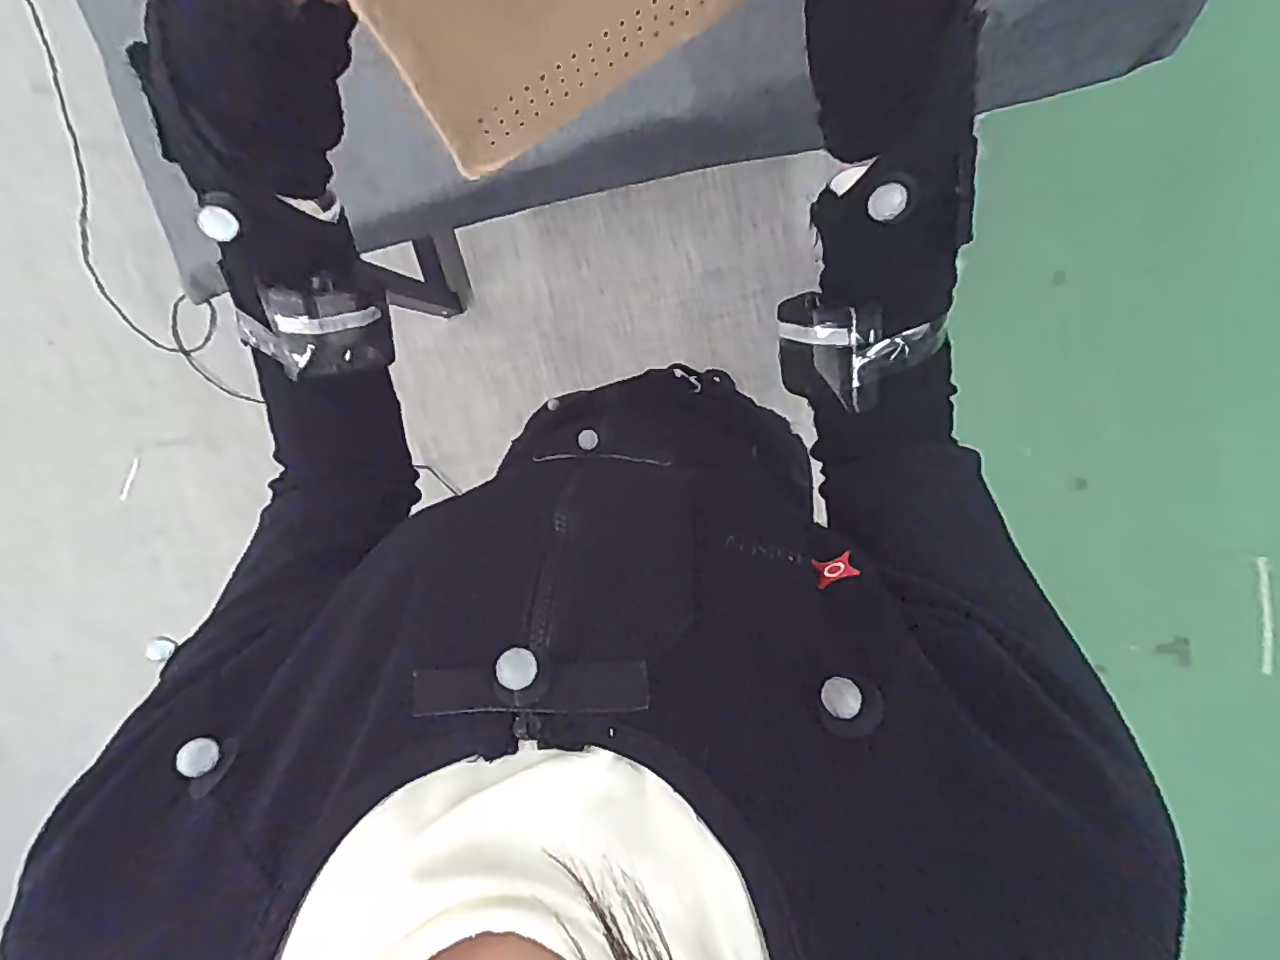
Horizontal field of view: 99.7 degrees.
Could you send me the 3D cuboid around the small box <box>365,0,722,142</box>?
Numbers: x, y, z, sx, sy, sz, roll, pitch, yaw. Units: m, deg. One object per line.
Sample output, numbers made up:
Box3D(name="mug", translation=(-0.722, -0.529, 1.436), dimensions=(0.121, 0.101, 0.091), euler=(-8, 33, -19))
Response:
Box3D(name="small box", translation=(-0.037, -0.231, 0.128), dimensions=(0.179, 0.176, 0.168), euler=(-32, 93, 3))
